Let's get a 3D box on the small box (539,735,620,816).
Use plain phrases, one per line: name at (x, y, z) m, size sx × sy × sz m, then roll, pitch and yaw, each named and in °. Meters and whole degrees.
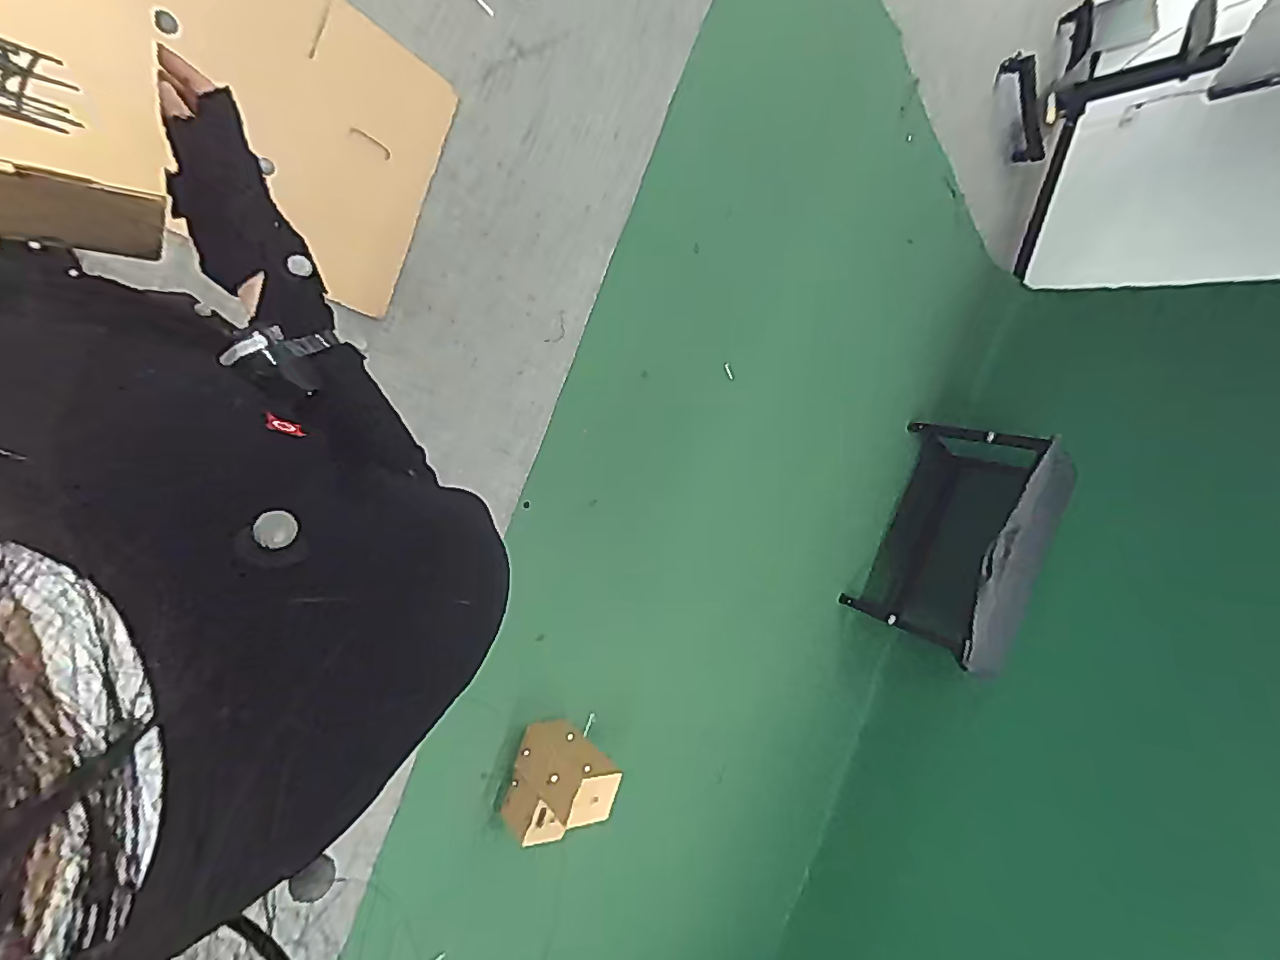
small box at (-0.204, 0.974, 1.800) m, size 0.179 × 0.176 × 0.168 m, roll 19°, pitch 91°, yaw -42°
